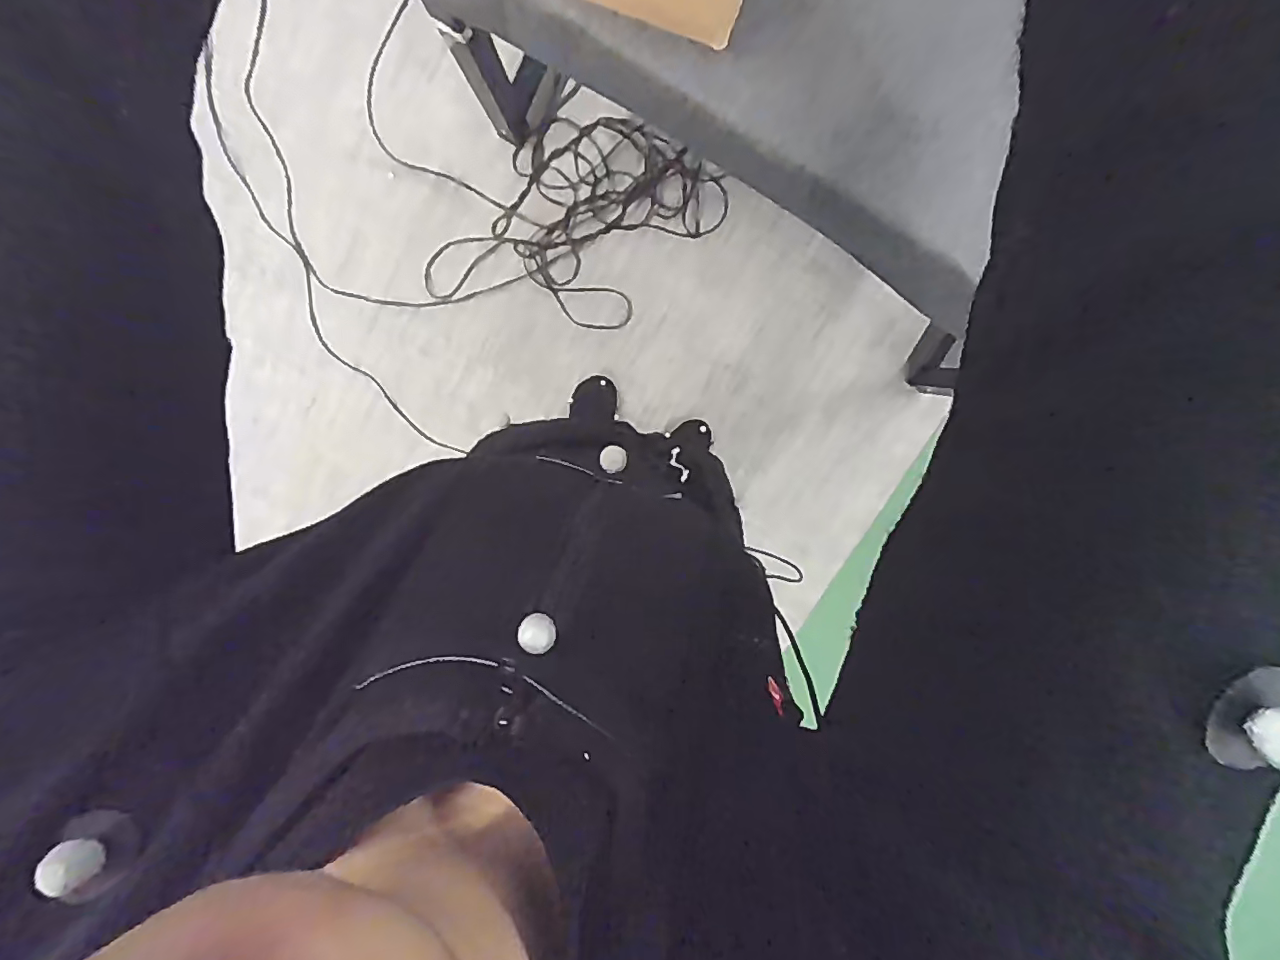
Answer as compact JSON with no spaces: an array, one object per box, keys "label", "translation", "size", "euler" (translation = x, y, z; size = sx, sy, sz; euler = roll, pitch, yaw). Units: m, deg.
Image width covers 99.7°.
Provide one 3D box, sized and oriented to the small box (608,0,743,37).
[{"label":"small box","translation":[0.032,-0.503,0.426],"size":[0.179,0.176,0.168],"euler":[16,102,-6]}]
